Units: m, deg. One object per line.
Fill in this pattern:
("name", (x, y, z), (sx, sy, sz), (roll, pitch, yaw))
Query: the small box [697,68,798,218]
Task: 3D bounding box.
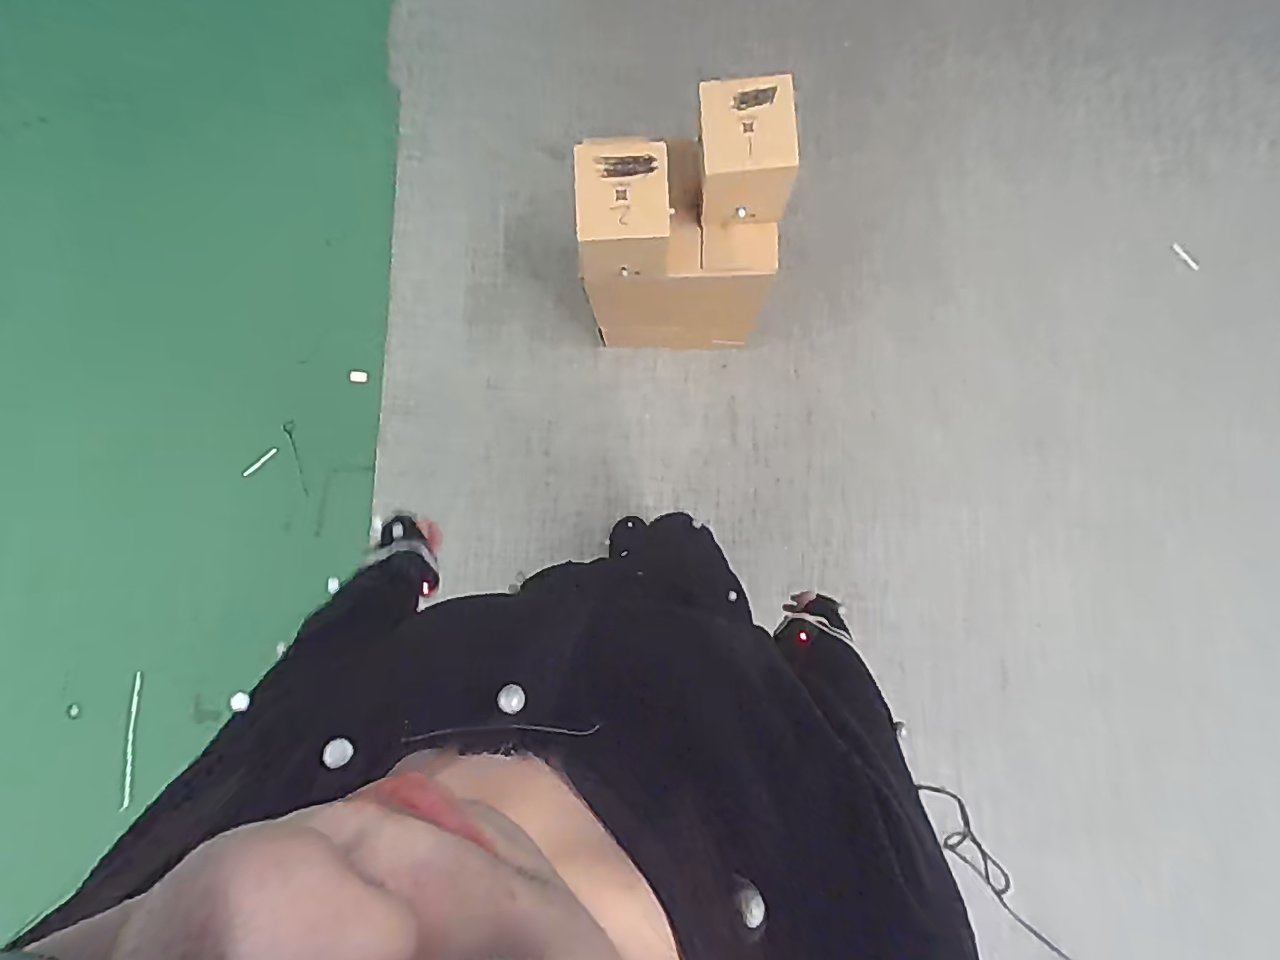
("small box", (0.196, -0.630, 1.029), (0.168, 0.176, 0.179), (-3, 87, 4))
